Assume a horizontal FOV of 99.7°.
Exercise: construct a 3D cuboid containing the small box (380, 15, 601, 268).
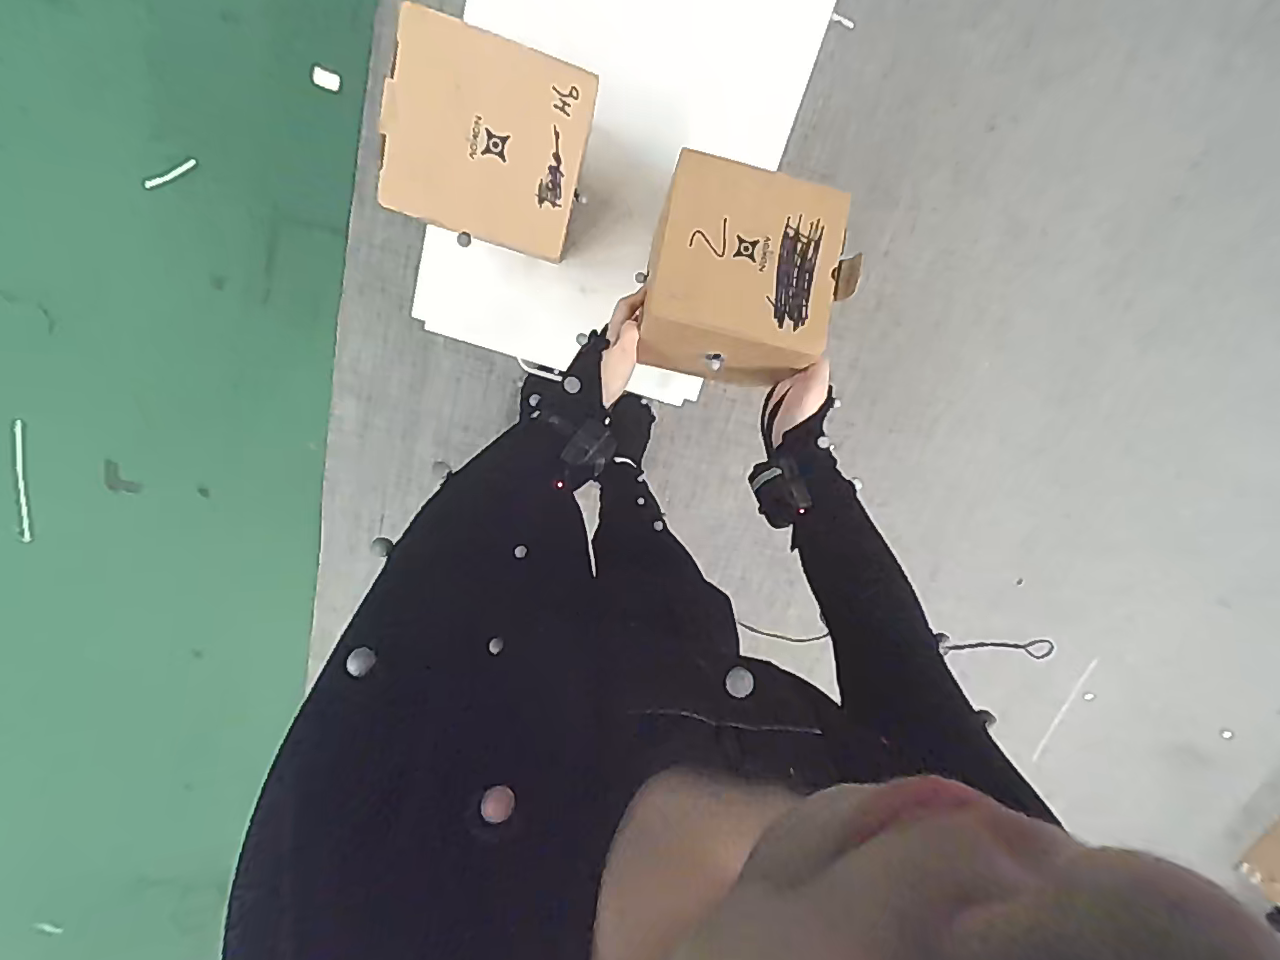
[{"bbox_3d":[-0.149,-0.332,0.577,0.179,0.176,0.168,13,108,-12],"label":"small box"}]
